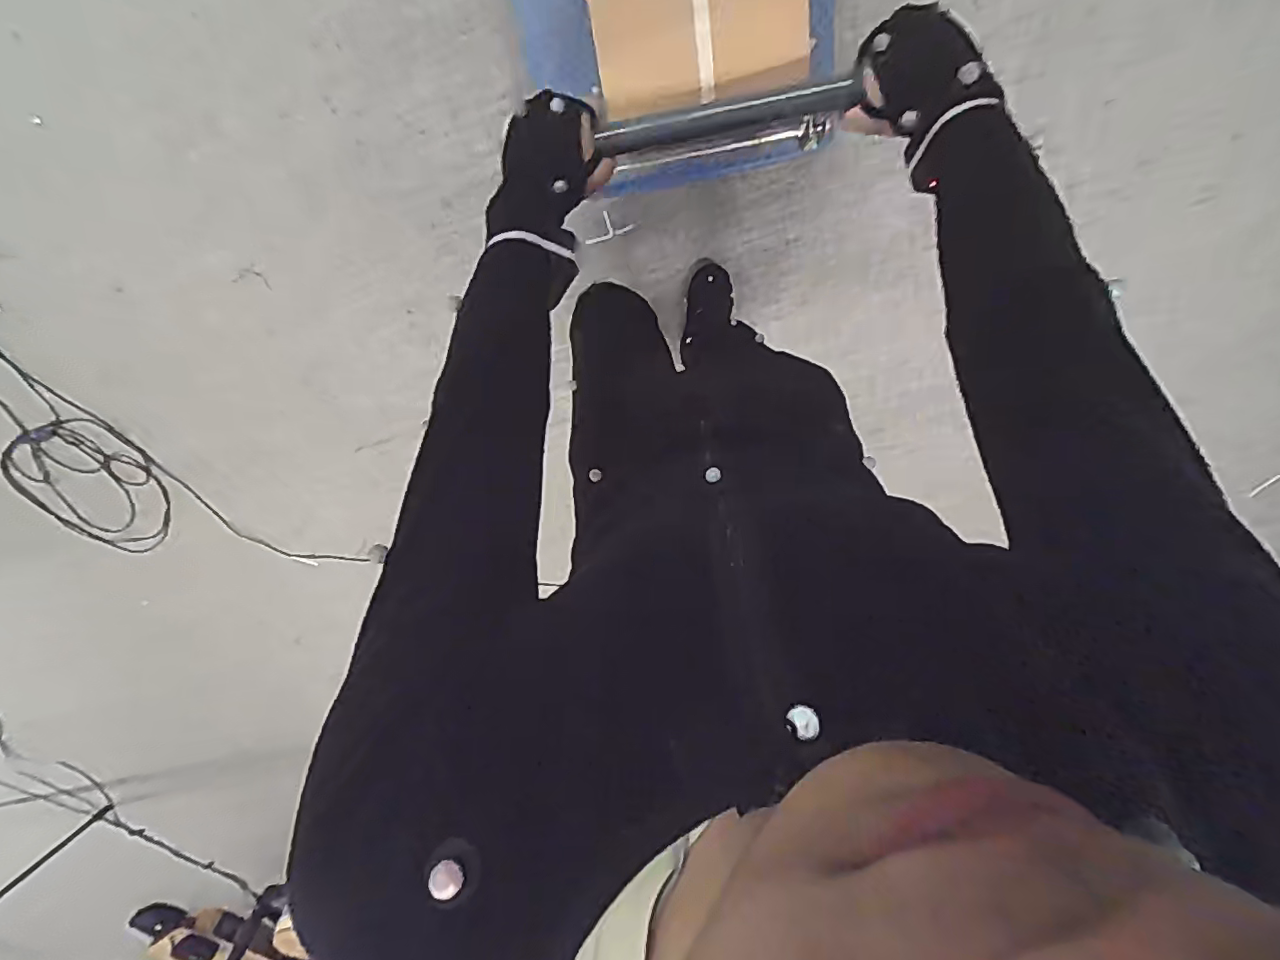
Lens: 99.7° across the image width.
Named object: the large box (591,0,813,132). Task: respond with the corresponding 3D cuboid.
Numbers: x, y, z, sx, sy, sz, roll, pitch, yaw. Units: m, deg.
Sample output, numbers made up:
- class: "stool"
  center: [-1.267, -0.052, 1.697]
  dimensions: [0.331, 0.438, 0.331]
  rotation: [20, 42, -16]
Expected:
- class: "large box"
  center: [0.079, -0.830, 0.865]
  dimensions: [0.320, 0.320, 0.408]
  rotation: [-8, 119, 6]
